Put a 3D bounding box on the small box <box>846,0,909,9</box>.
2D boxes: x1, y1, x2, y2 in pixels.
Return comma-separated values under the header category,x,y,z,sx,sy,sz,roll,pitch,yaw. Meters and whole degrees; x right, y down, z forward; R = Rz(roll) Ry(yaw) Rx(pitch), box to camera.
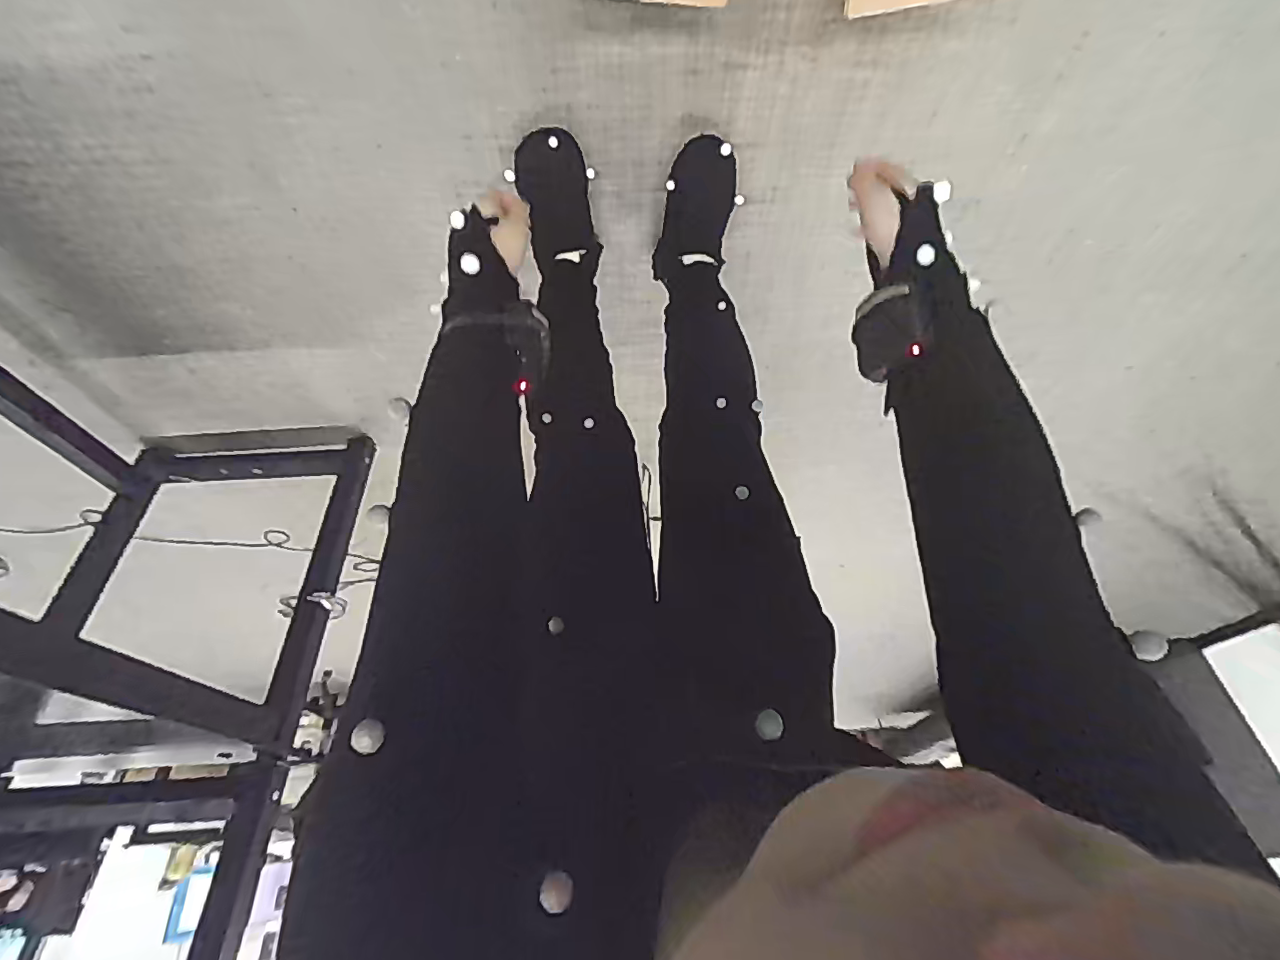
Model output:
category,x,y,z,sx,sy,sz,roll,pitch,yaw
small box,0.293,-0.625,0.554,0.179,0.176,0.168,-7,146,4
